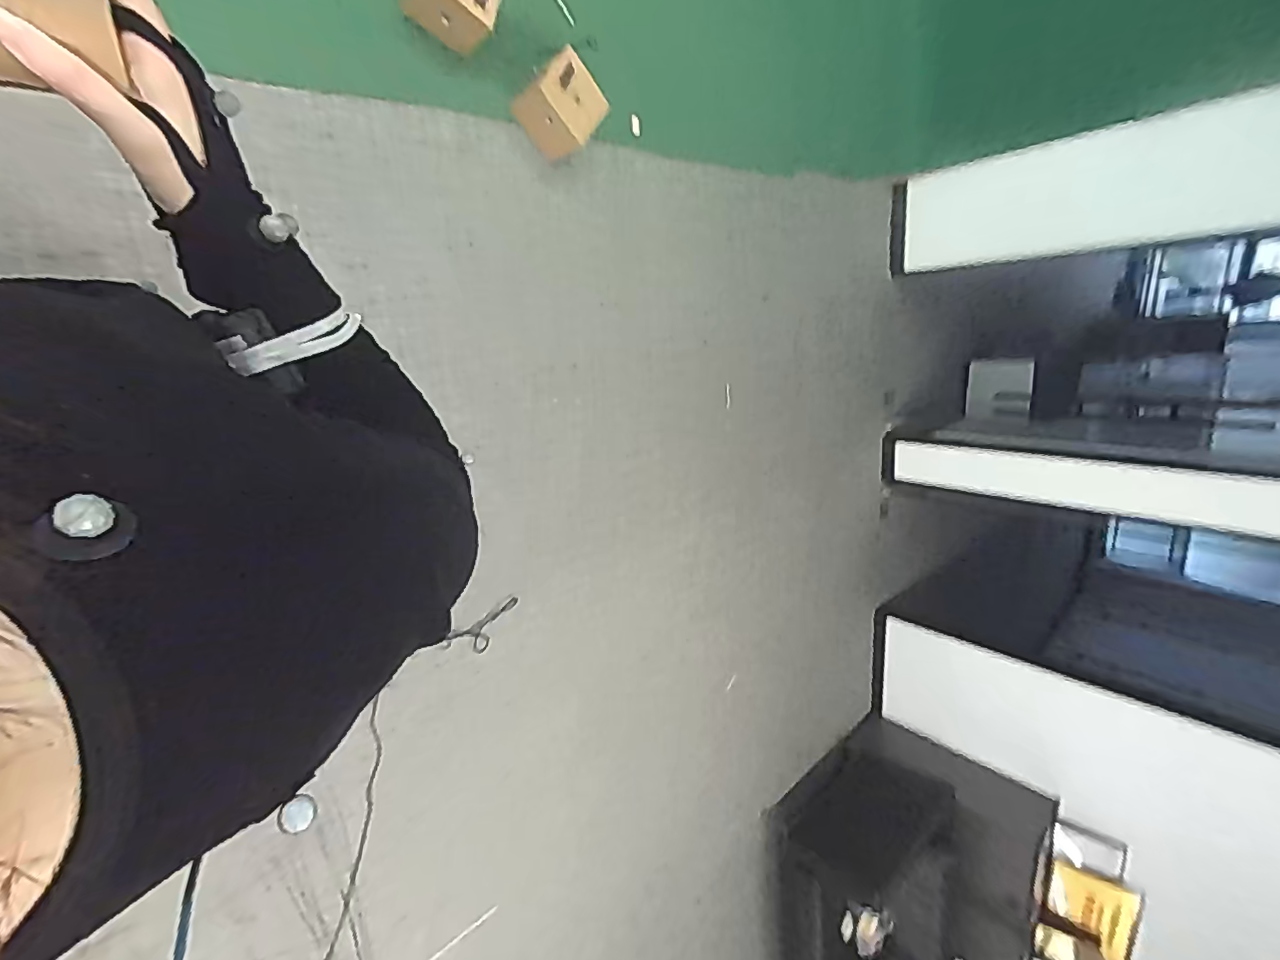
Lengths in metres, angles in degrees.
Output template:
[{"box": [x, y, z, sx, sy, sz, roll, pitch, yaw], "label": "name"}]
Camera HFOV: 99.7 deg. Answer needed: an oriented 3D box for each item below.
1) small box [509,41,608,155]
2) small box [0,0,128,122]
[{"box": [-0.231, -1.050, 1.504, 0.179, 0.176, 0.168, 41, 72, -40], "label": "small box"}, {"box": [-0.323, -0.287, 0.202, 0.168, 0.179, 0.176, -9, 63, -33], "label": "small box"}]
